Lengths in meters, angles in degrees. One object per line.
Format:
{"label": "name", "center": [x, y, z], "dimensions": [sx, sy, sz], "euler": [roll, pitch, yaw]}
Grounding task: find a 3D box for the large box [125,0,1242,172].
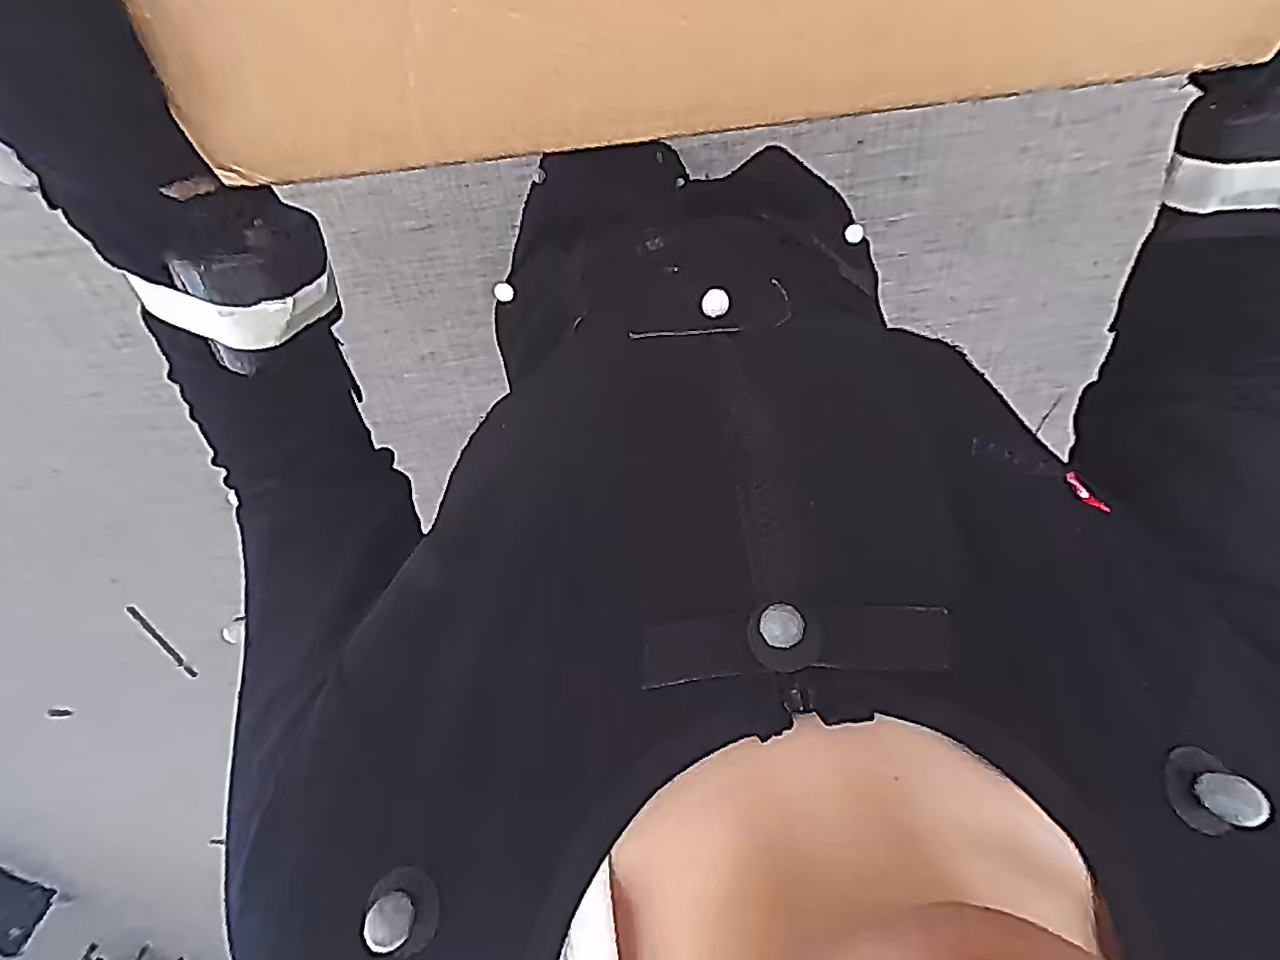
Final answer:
{"label": "large box", "center": [0.009, -0.358, 0.183], "dimensions": [0.408, 0.320, 0.320], "euler": [-6, 143, 1]}
